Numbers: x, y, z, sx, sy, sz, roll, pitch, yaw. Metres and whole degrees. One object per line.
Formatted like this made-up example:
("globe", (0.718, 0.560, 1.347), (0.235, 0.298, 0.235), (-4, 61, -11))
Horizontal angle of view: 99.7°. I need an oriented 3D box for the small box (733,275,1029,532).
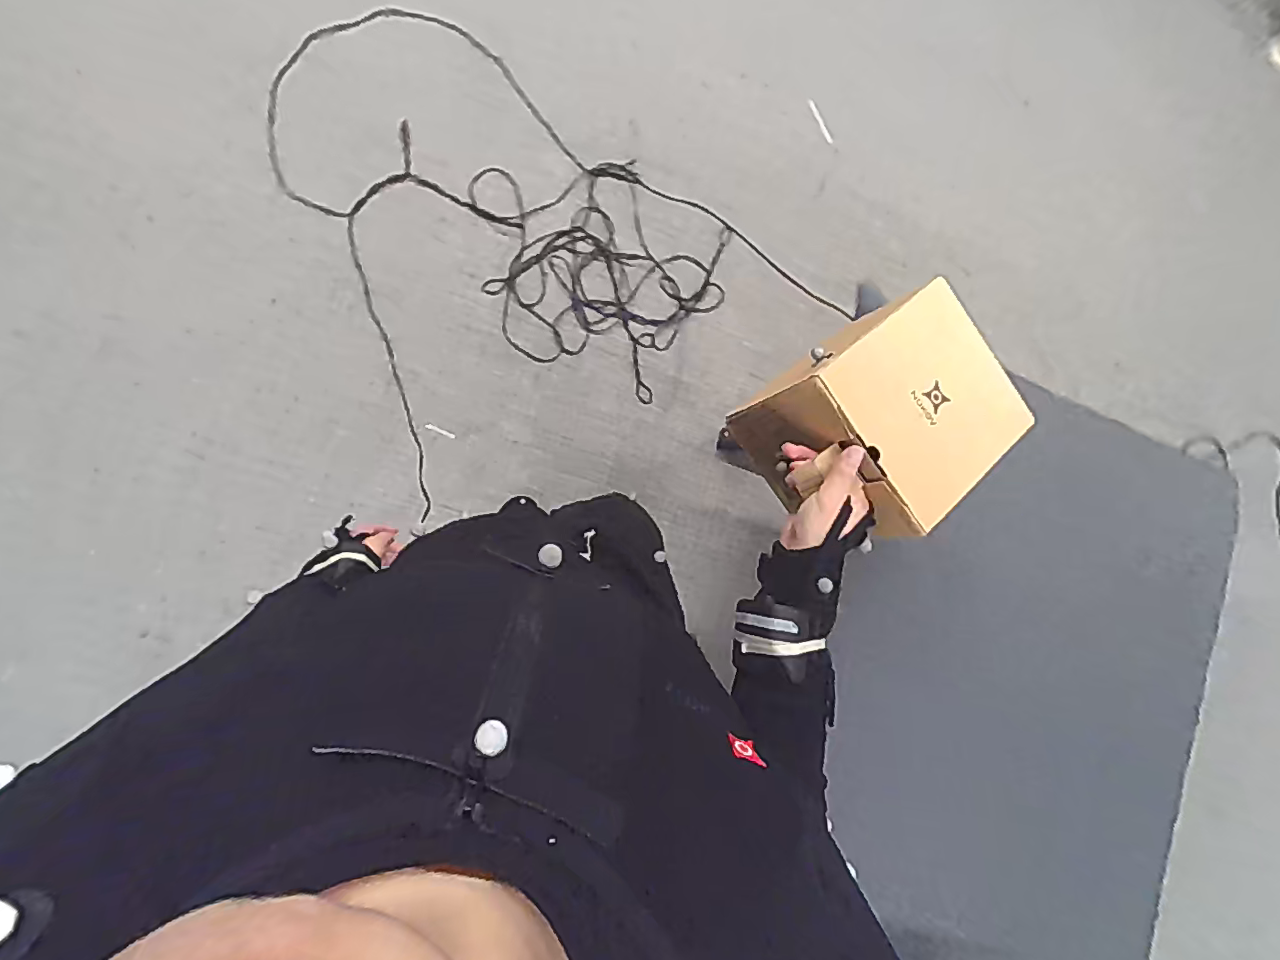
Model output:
("small box", (0.227, -0.064, 0.543), (0.179, 0.176, 0.168), (-39, 96, -17))
